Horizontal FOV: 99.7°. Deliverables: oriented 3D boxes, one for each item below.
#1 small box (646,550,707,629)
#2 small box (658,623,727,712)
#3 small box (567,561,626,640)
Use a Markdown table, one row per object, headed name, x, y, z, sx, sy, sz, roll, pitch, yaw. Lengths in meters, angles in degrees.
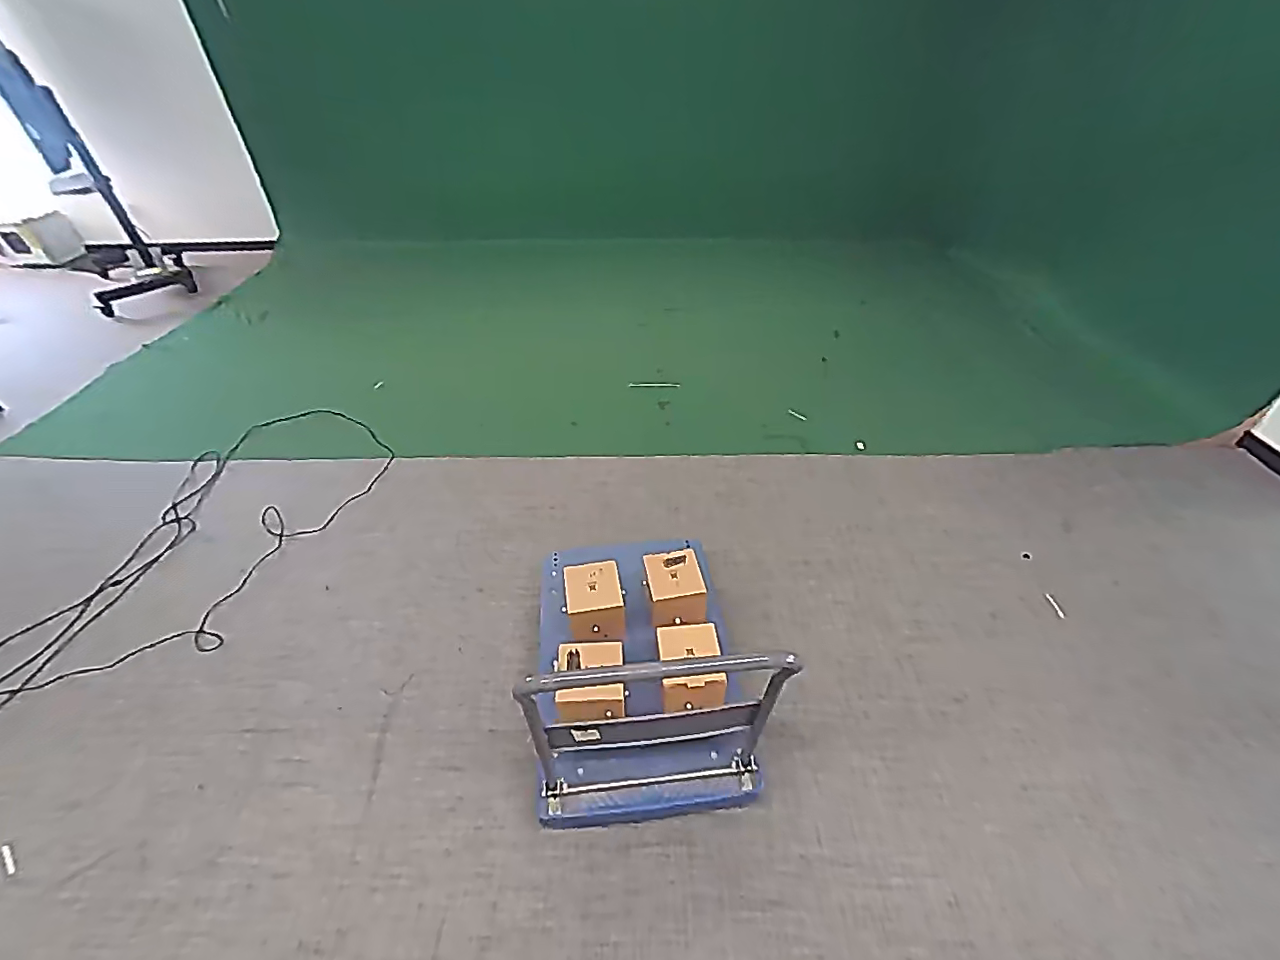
| name | x | y | z | sx | sy | sz | roll | pitch | yaw |
| --- | --- | --- | --- | --- | --- | --- | --- | --- | --- |
| small box | 0.111 | 0.351 | 1.729 | 0.168 | 0.176 | 0.179 | -8 | 43 | -6 |
| small box | 0.142 | 0.531 | 1.529 | 0.168 | 0.176 | 0.179 | -4 | 42 | -4 |
| small box | -0.136 | 0.384 | 1.697 | 0.168 | 0.176 | 0.179 | -7 | 42 | -7 |
